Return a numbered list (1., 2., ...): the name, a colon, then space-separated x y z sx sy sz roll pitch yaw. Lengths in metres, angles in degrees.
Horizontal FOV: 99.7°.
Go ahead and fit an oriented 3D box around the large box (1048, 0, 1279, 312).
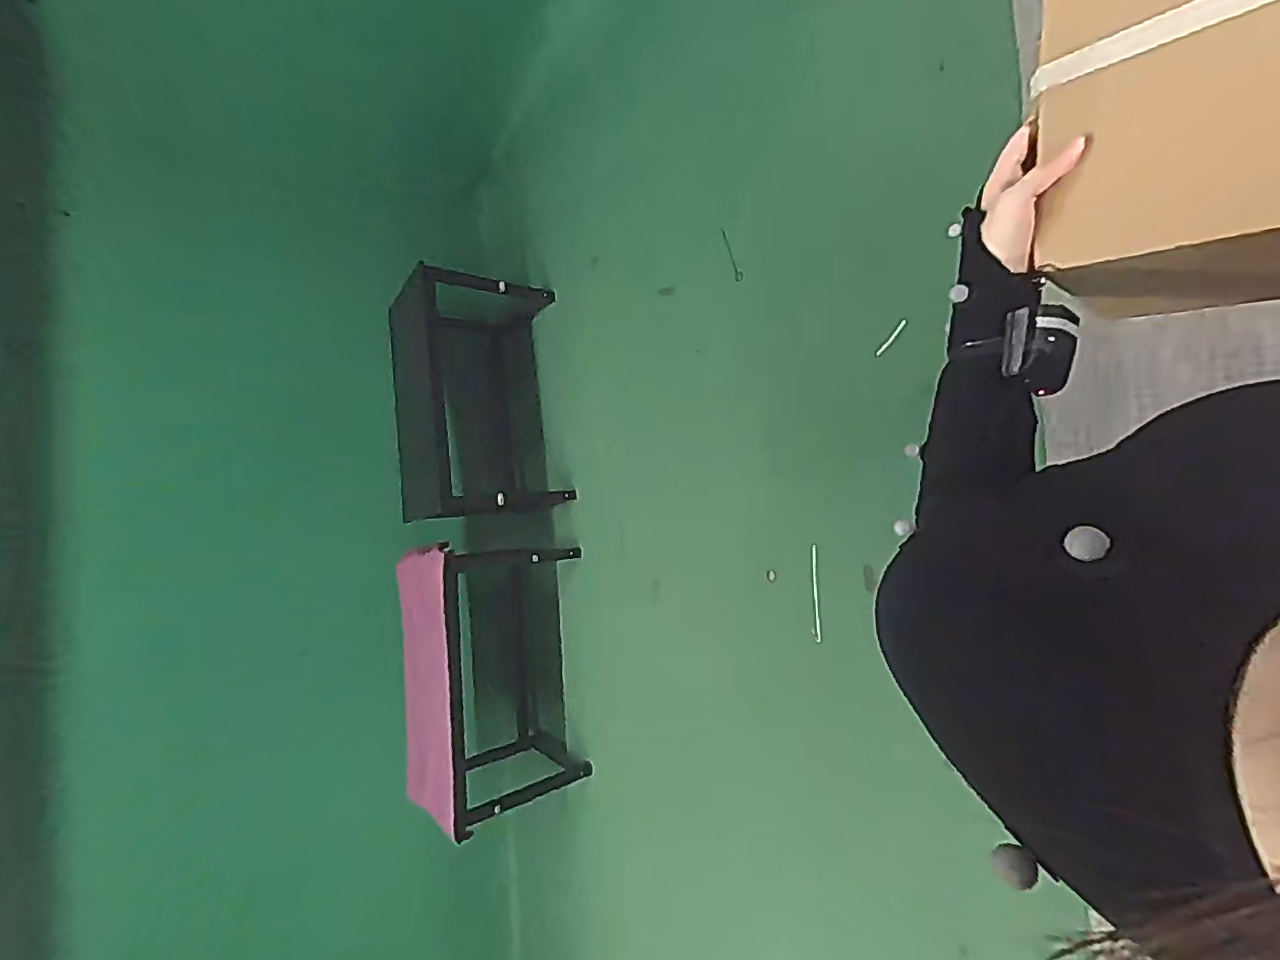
1. large box: 0.580 -0.337 0.399 0.408 0.320 0.320 4 97 47
